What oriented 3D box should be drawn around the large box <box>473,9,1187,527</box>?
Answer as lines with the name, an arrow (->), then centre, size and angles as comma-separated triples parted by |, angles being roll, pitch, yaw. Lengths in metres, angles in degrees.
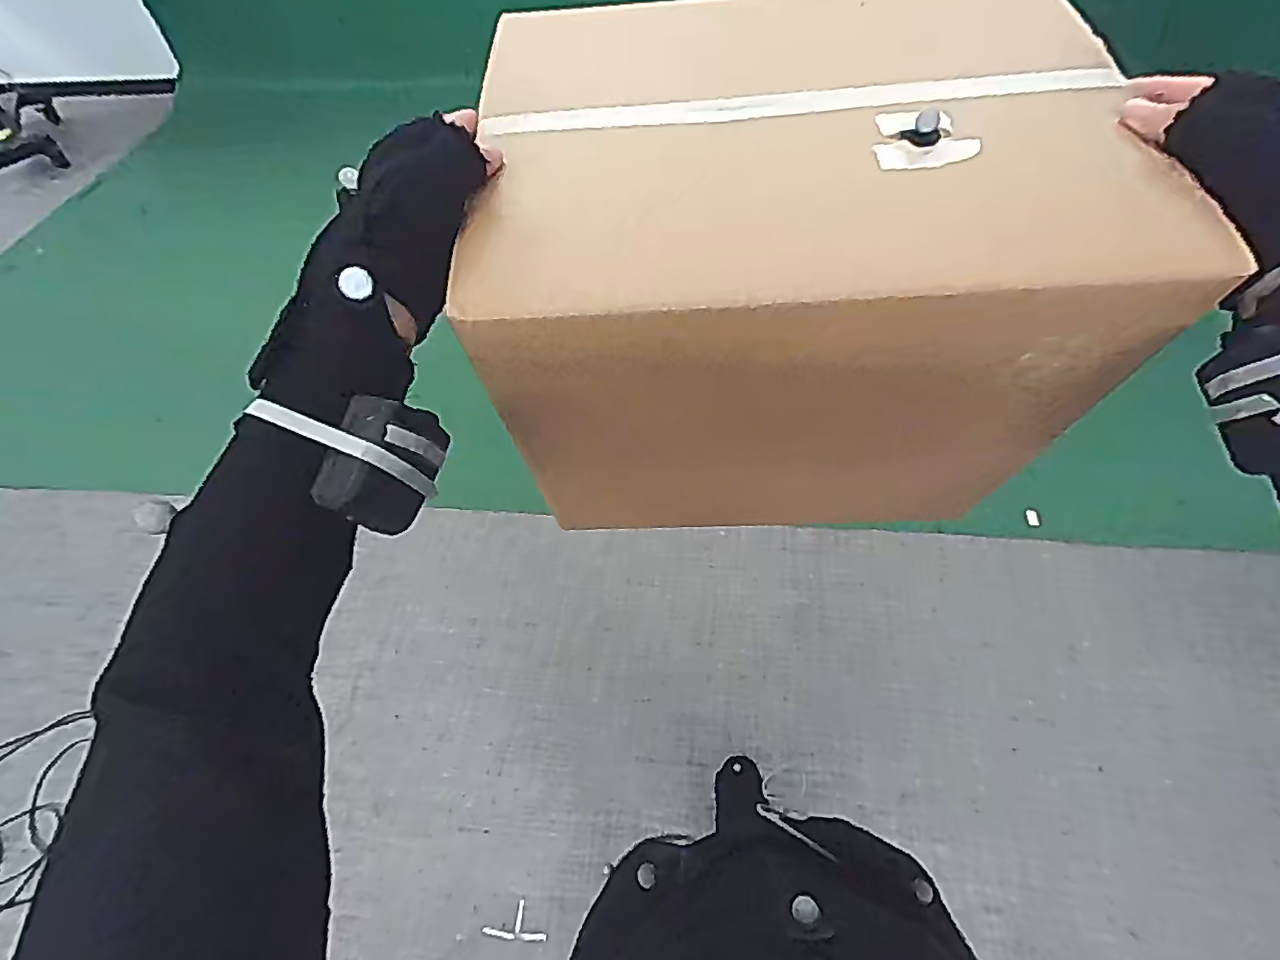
large box -> 0.103, -0.161, 0.498 | 0.408, 0.320, 0.320 | -2, 63, 2
